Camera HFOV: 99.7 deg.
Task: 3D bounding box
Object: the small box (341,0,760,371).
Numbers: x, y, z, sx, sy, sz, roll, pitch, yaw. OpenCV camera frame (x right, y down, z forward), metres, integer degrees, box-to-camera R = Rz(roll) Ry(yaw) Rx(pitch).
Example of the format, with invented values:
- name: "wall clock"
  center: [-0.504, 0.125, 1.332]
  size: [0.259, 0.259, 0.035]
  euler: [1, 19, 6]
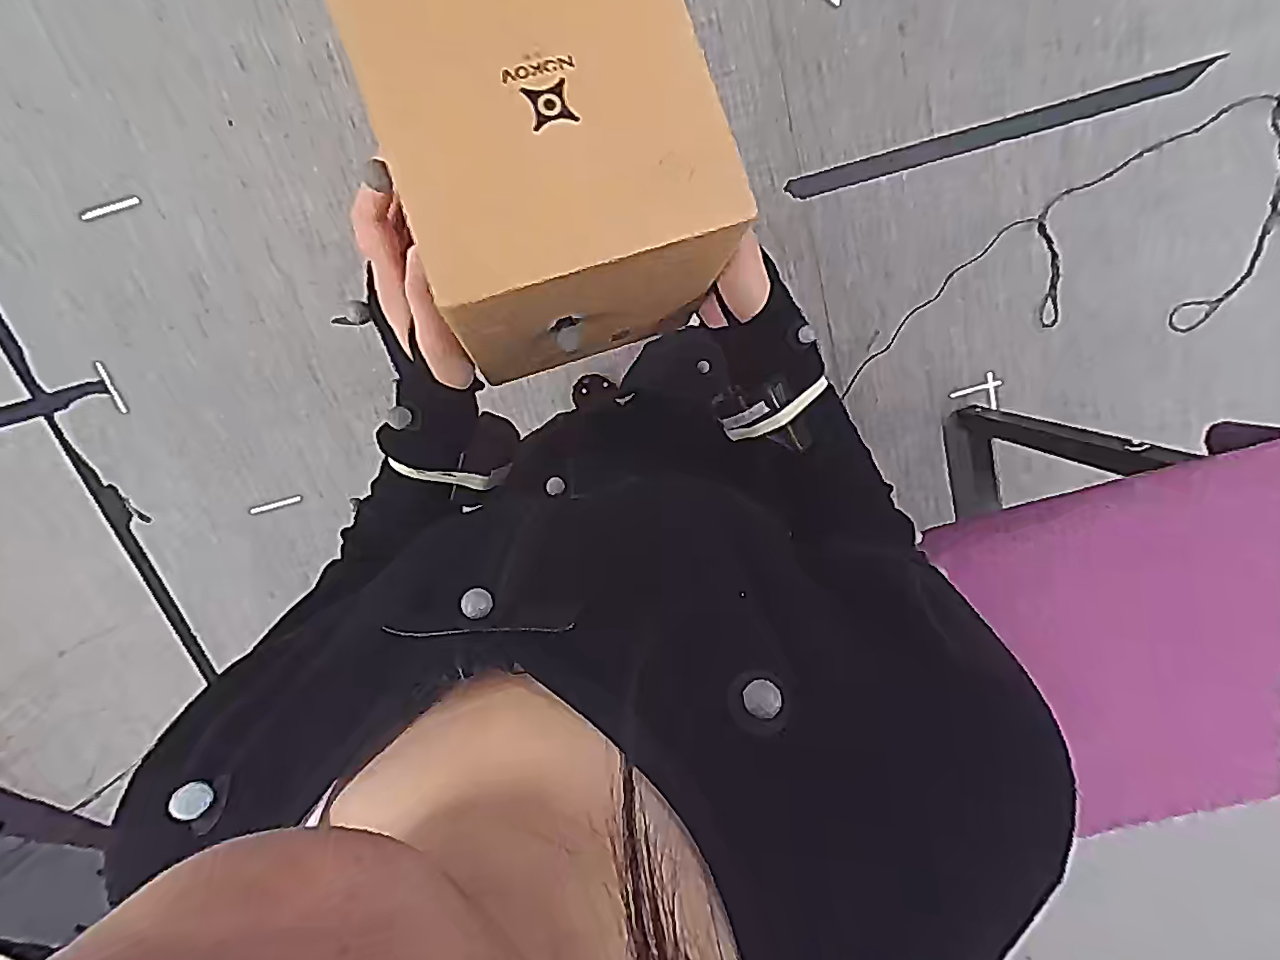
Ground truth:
- name: "small box"
  center: [-0.050, -0.181, 0.342]
  size: [0.168, 0.176, 0.179]
  euler: [-20, 88, -8]
